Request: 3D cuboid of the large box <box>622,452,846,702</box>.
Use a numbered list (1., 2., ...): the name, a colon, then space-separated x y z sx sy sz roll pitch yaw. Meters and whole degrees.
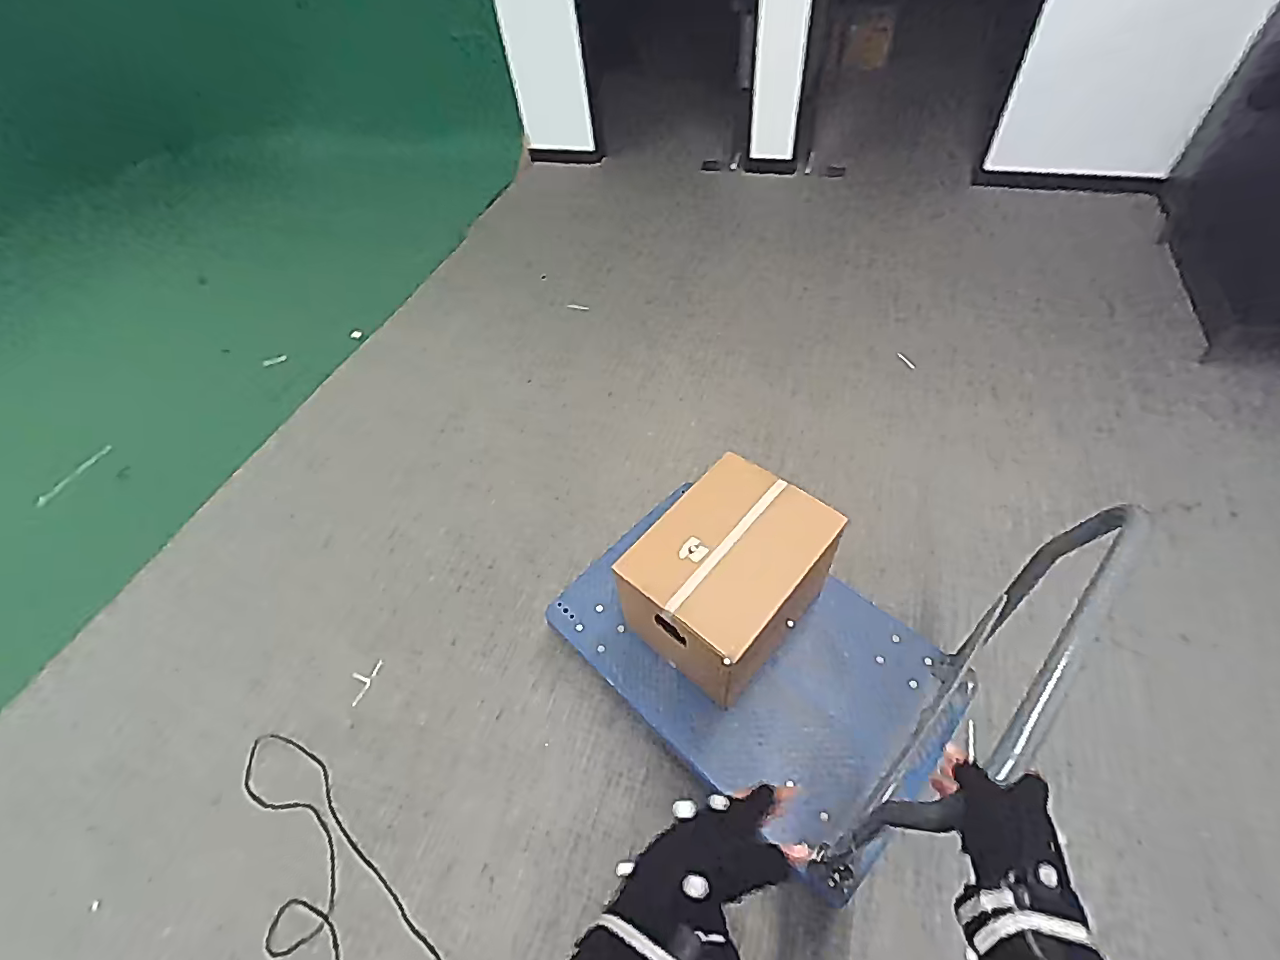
1. large box: 0.216 0.219 1.246 0.320 0.320 0.408 31 63 28
